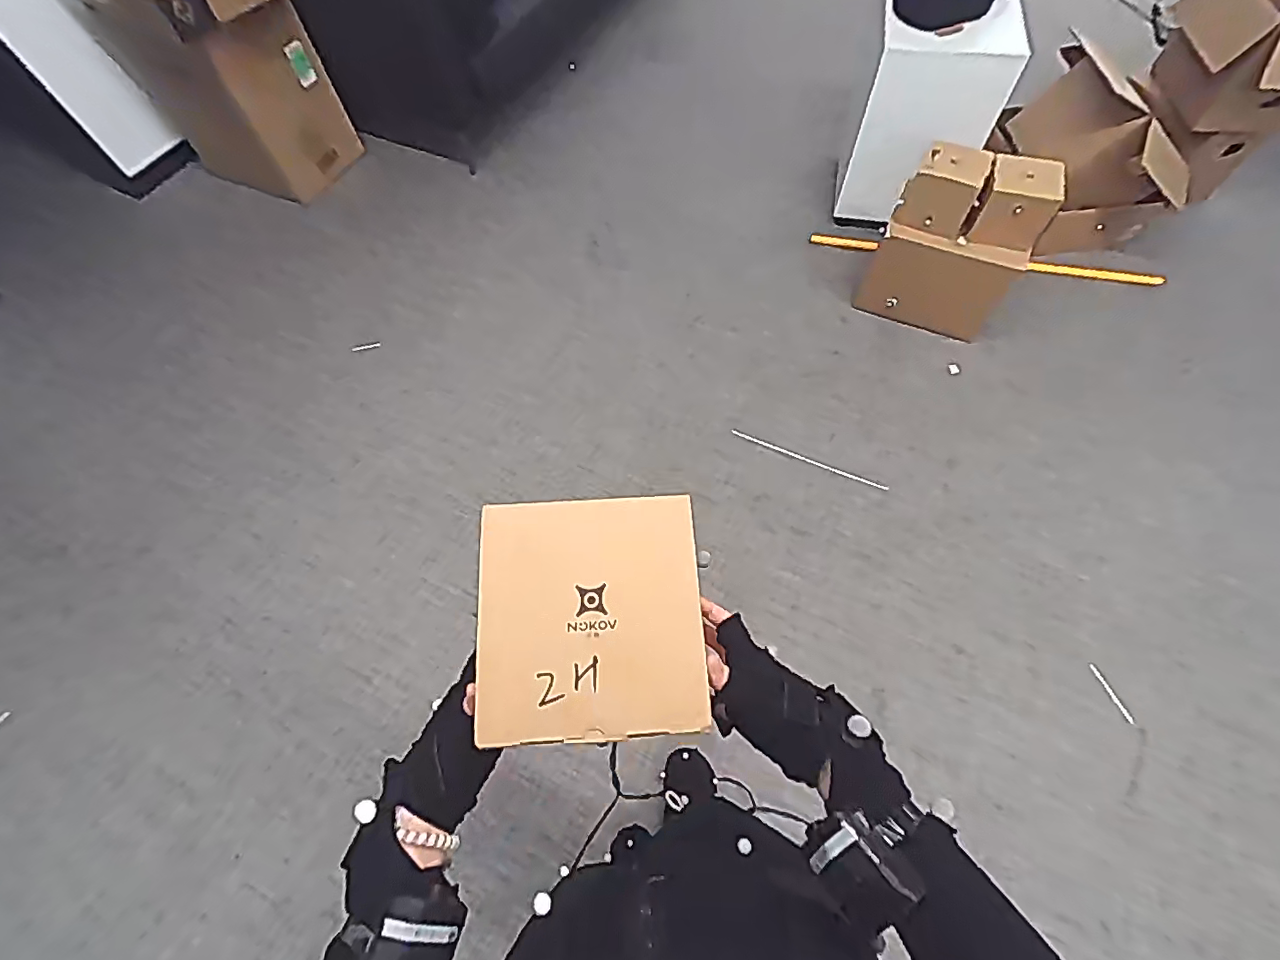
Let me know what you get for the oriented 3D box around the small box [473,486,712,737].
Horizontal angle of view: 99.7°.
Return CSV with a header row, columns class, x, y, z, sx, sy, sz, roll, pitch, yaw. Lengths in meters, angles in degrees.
class,x,y,z,sx,sy,sz,roll,pitch,yaw
small box,-0.037,0.116,0.469,0.168,0.176,0.179,-3,71,-2
